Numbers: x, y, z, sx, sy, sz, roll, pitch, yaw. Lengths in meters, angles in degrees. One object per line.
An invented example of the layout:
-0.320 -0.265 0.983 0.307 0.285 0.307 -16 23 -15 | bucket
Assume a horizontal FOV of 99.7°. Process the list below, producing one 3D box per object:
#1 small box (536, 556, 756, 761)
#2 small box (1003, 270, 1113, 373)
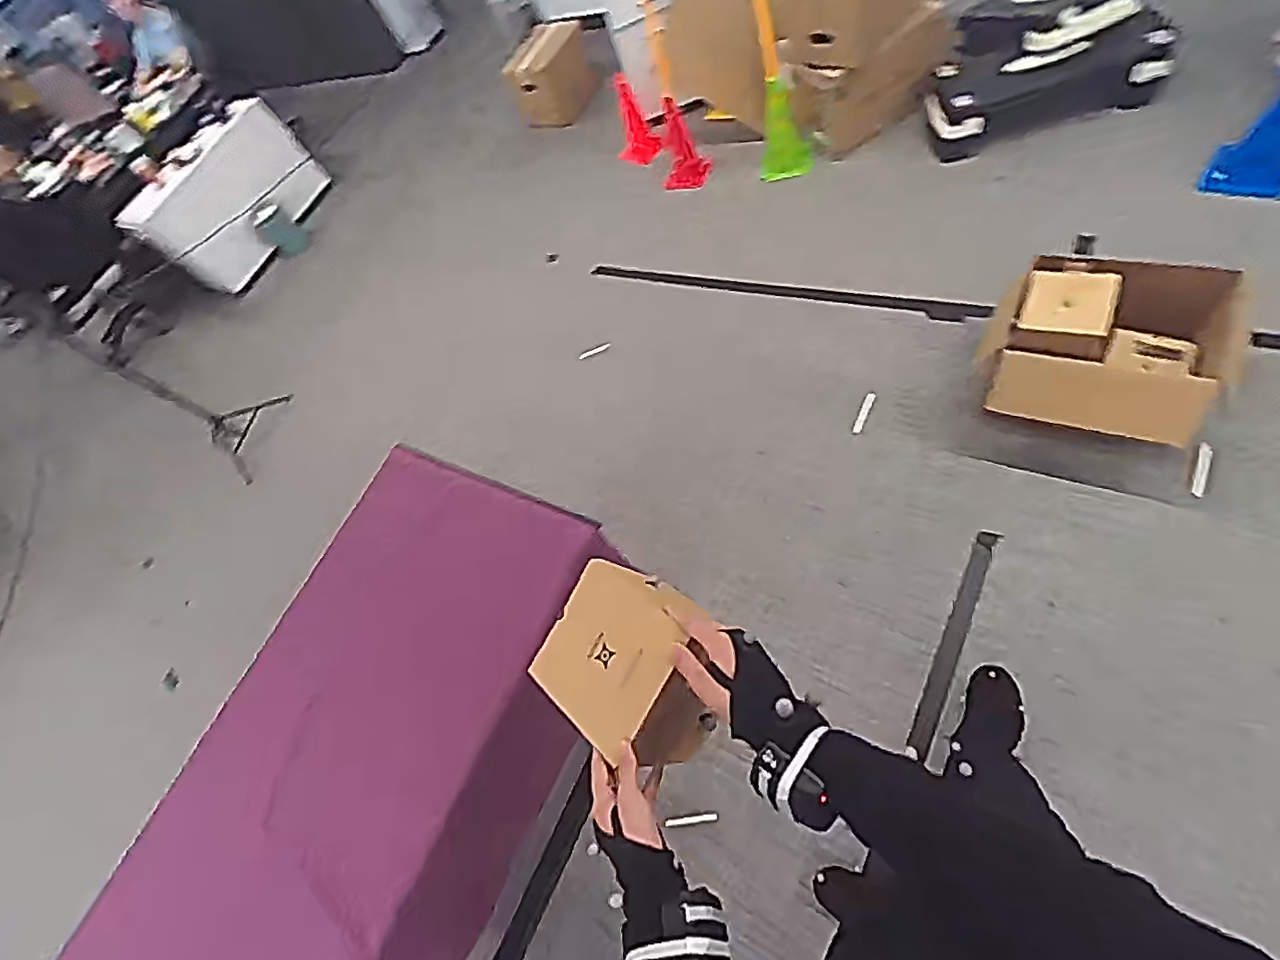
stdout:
0.010 0.222 0.677 0.179 0.176 0.168 31 90 42 | small box
1.026 -0.389 1.341 0.168 0.176 0.179 17 73 28 | small box
